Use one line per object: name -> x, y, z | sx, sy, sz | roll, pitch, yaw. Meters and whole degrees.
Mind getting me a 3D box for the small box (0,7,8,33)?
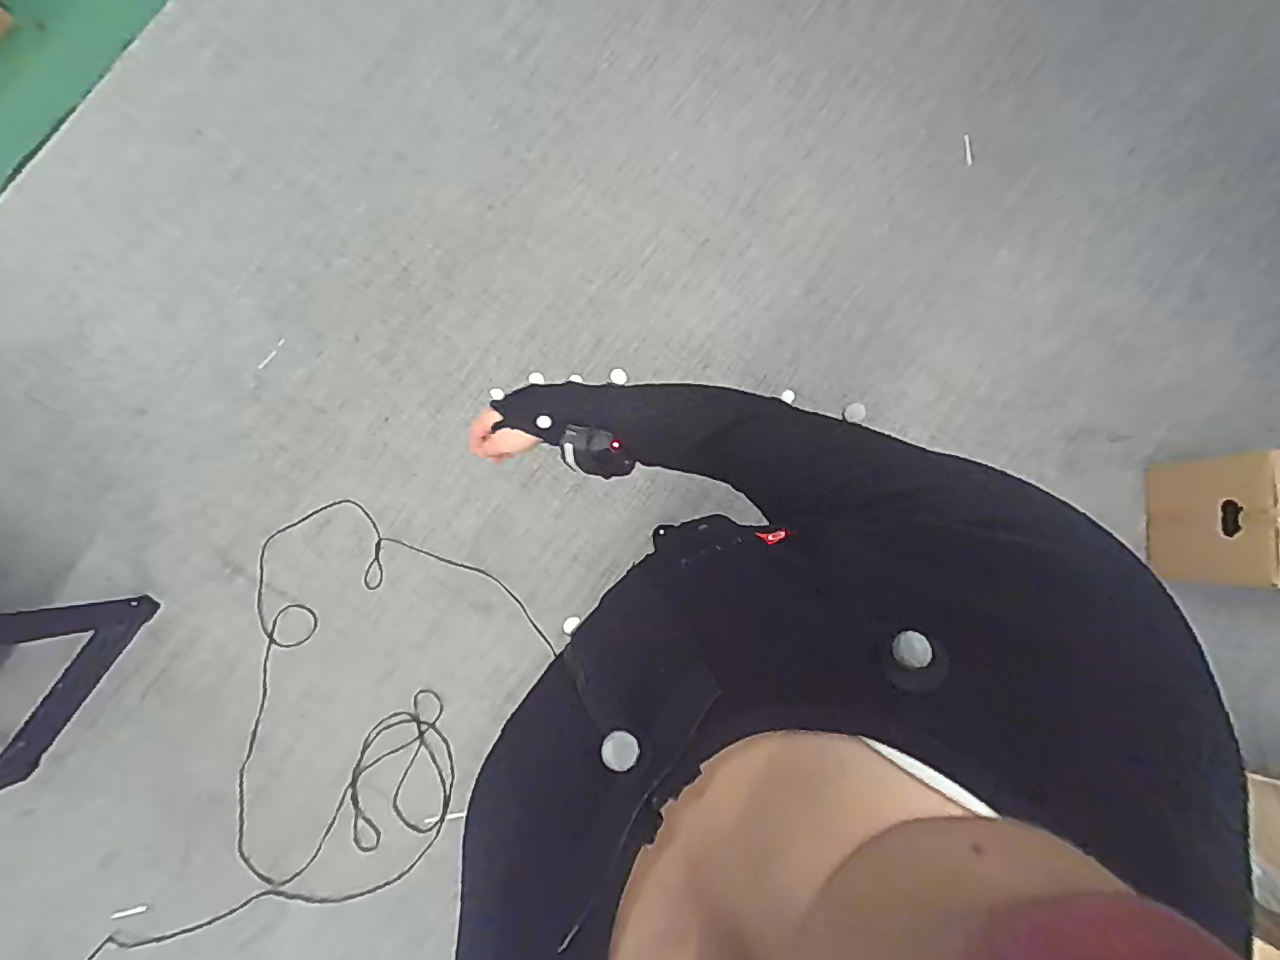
small box -> -2.065, -1.432, 1.605 | 0.168, 0.176, 0.179 | 40, 86, 4
